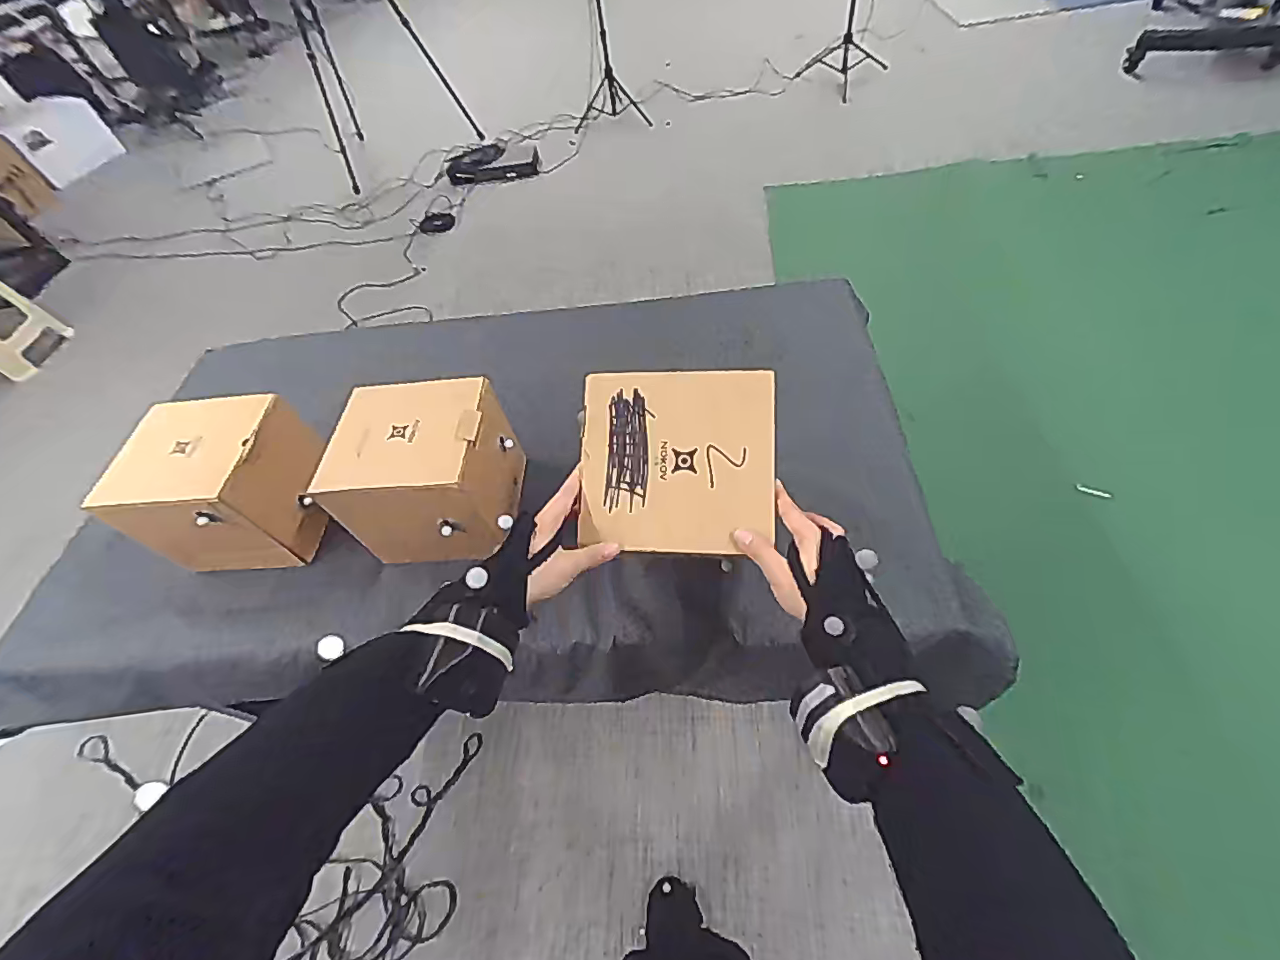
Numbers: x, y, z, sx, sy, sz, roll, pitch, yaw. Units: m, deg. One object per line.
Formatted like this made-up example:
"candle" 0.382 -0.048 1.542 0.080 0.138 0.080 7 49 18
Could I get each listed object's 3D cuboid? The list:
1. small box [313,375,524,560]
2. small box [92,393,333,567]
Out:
"small box" -0.261 -0.010 0.691 0.179 0.176 0.168 -5 53 7
"small box" -0.540 0.006 0.727 0.179 0.176 0.168 -4 54 6
